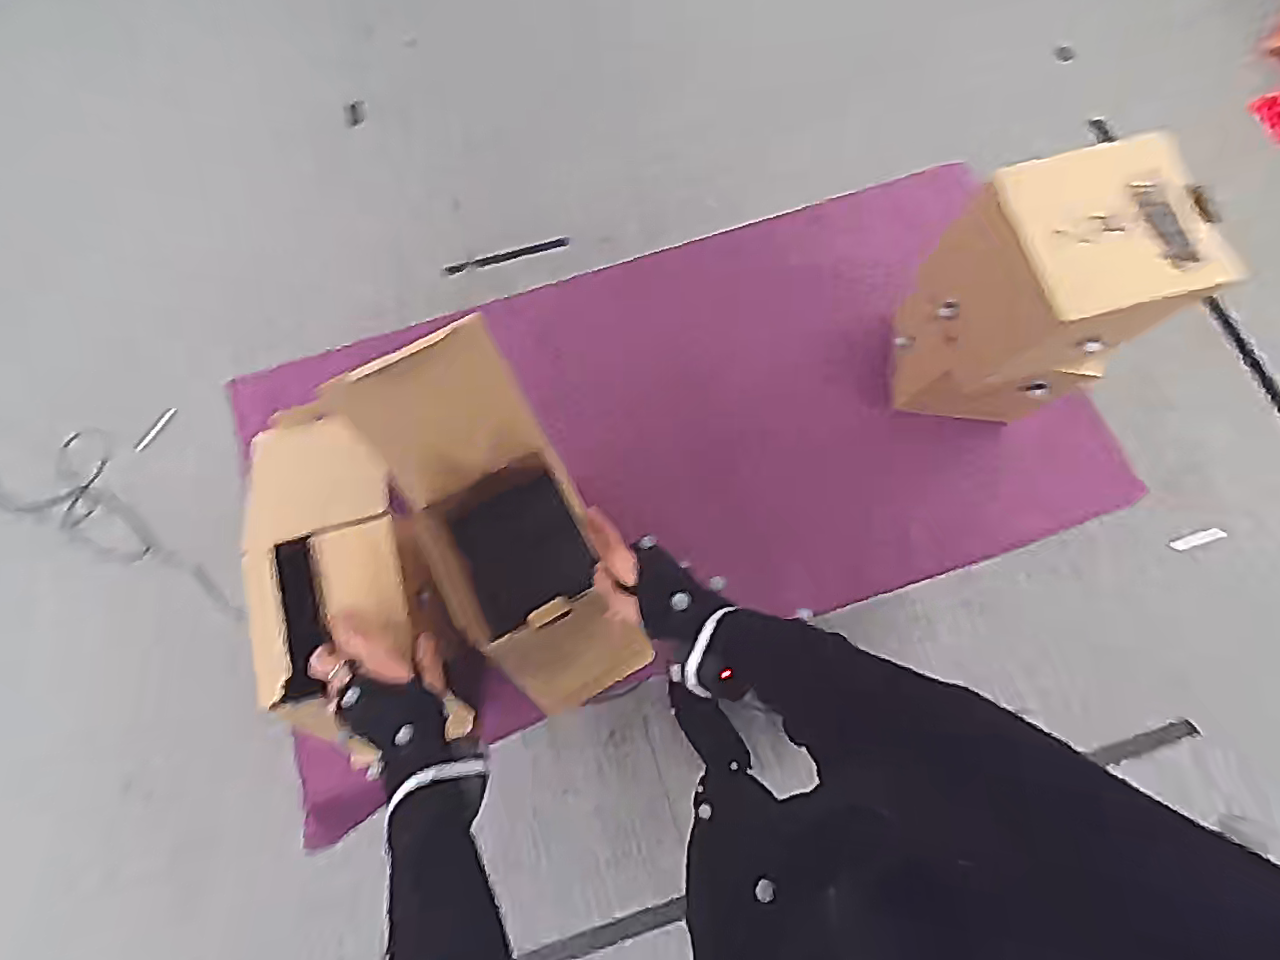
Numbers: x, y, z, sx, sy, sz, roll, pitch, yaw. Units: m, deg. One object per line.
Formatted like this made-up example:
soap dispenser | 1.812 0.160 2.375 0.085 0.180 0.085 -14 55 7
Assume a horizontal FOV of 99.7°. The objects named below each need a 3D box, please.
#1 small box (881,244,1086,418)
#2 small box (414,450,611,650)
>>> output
small box | 0.456 -0.192 0.741 0.179 0.176 0.168 6 77 2
small box | -0.145 0.091 0.679 0.168 0.176 0.179 -28 78 -7
